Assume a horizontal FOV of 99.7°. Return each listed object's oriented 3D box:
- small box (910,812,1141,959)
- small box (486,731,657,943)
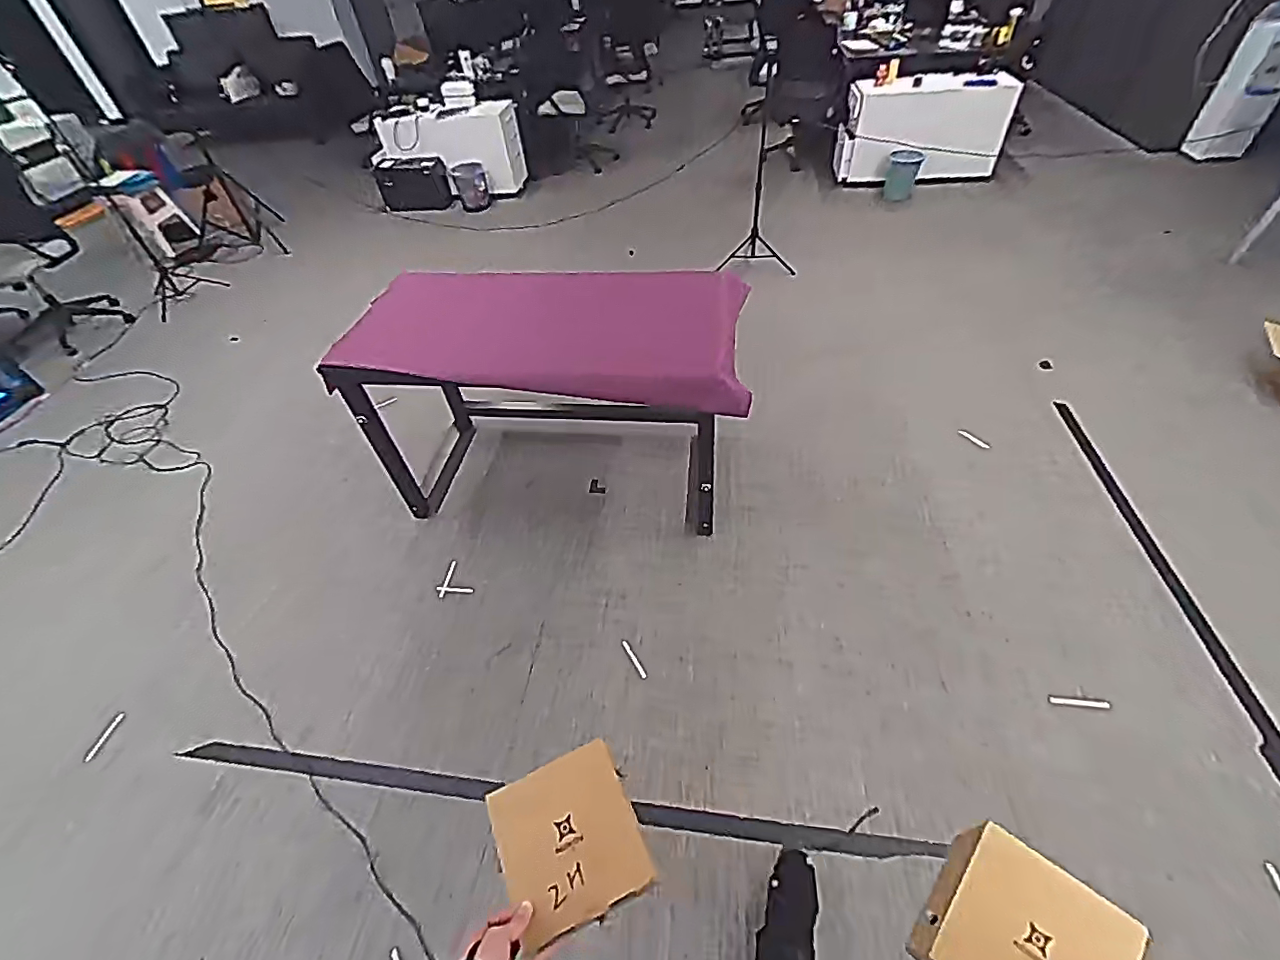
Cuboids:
[{"bbox_3d":[0.455,0.553,0.665,0.168,0.176,0.179,28,65,32],"label":"small box"},{"bbox_3d":[-0.087,0.477,0.728,0.168,0.176,0.179,-23,54,-12],"label":"small box"}]
